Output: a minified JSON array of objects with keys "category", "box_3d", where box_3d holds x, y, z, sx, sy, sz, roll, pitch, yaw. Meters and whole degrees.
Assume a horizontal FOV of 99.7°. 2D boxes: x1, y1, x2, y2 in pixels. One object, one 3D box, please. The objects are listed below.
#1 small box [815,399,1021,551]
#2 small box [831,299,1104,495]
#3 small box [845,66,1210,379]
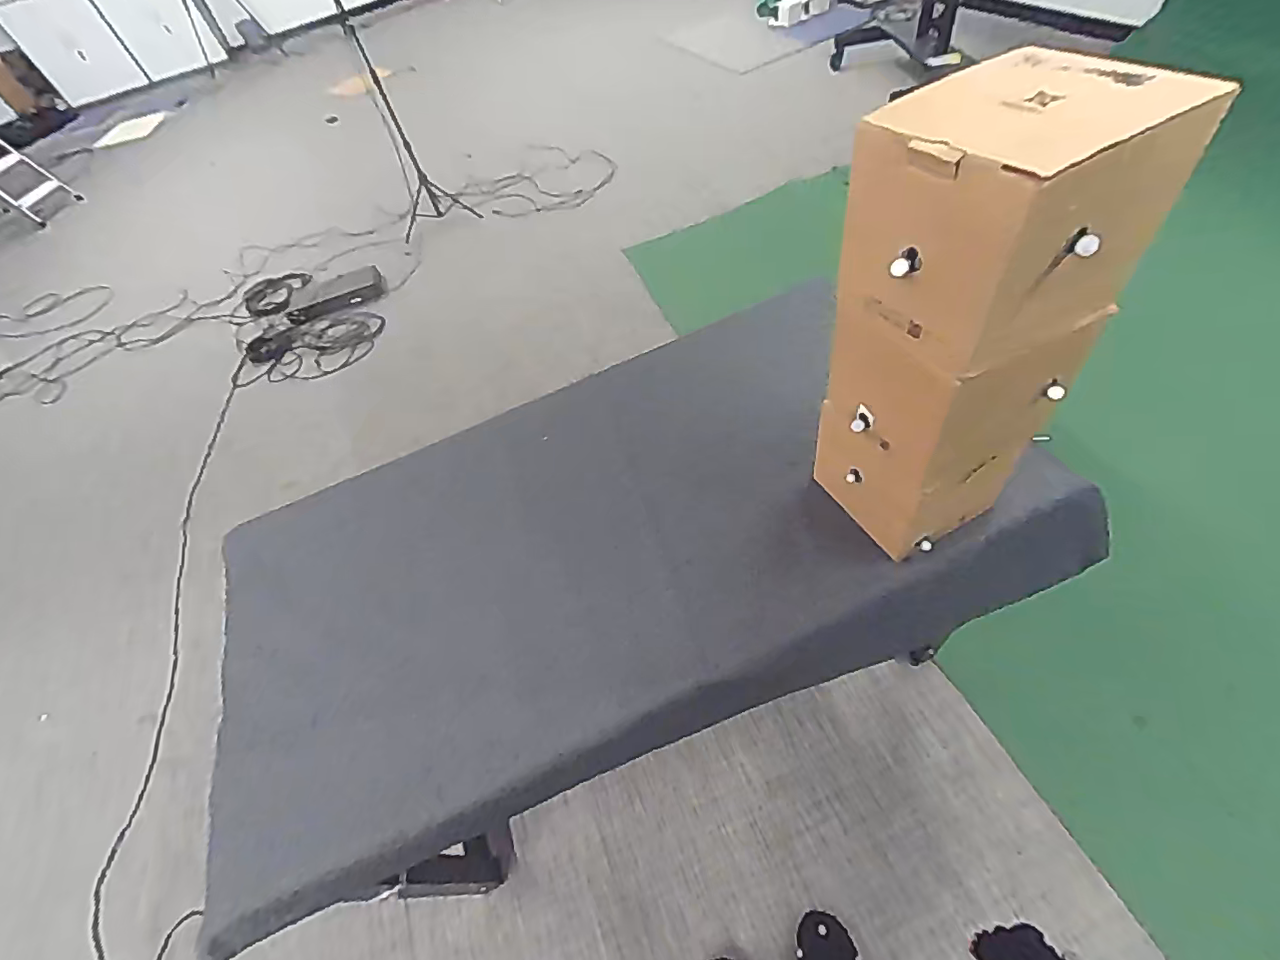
[{"category":"small box","box_3d":[0.358,-0.027,0.726,0.168,0.176,0.179,-27,51,-9]},{"category":"small box","box_3d":[0.332,-0.117,0.594,0.179,0.176,0.168,-27,51,-6]},{"category":"small box","box_3d":[0.299,-0.218,0.470,0.179,0.176,0.168,-27,51,-8]}]
